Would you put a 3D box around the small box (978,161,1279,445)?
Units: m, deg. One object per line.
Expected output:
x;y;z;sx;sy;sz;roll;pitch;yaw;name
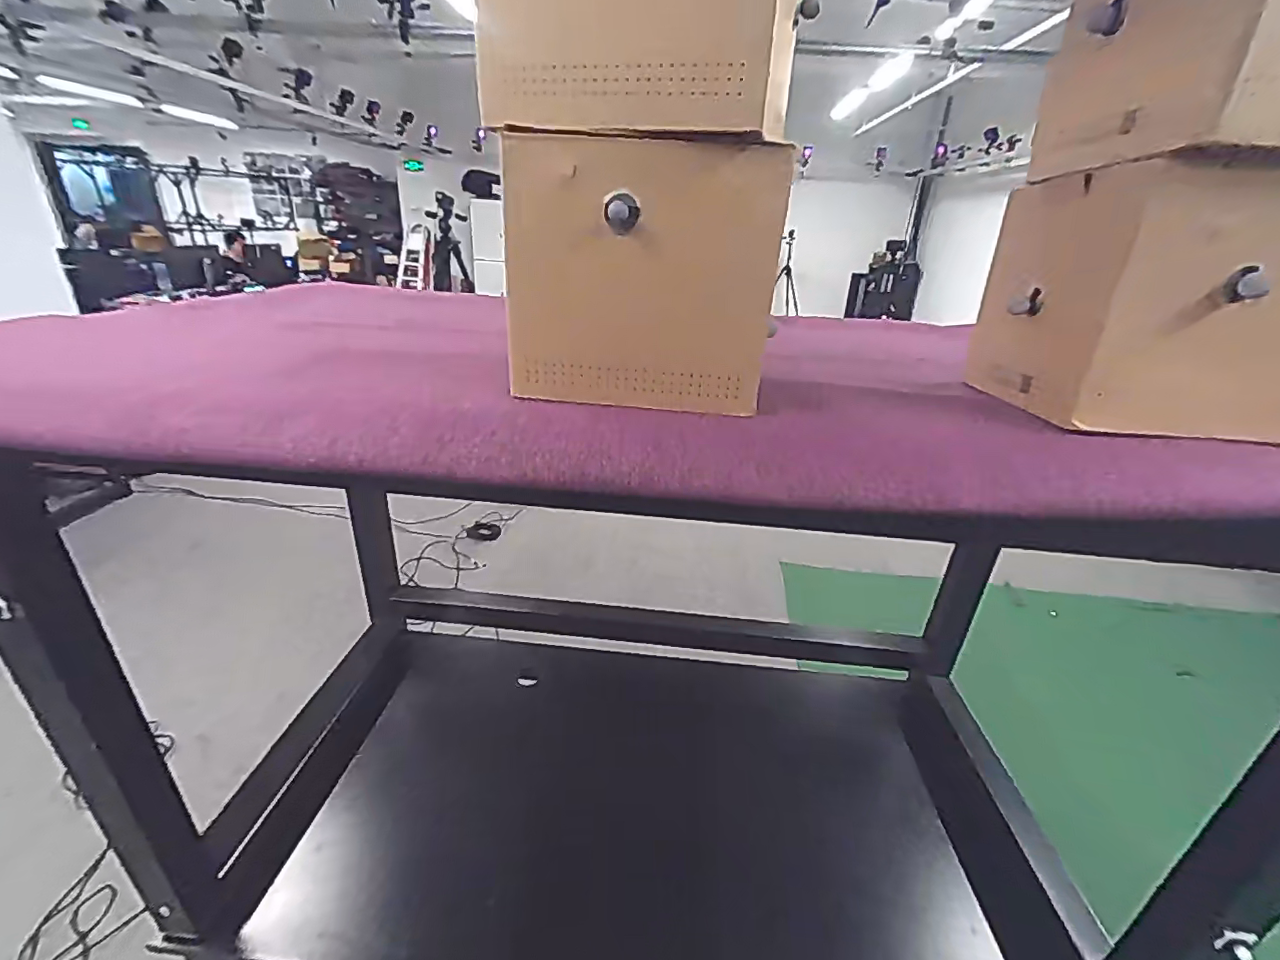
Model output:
0.387;-0.130;0.408;0.179;0.176;0.168;4;23;4;small box

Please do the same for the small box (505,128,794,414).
0.008;-0.157;0.420;0.179;0.176;0.168;6;25;4;small box

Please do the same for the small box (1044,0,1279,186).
0.393;-0.276;0.333;0.179;0.176;0.168;4;22;4;small box

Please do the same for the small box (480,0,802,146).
0.013;-0.304;0.352;0.179;0.176;0.168;9;25;13;small box
